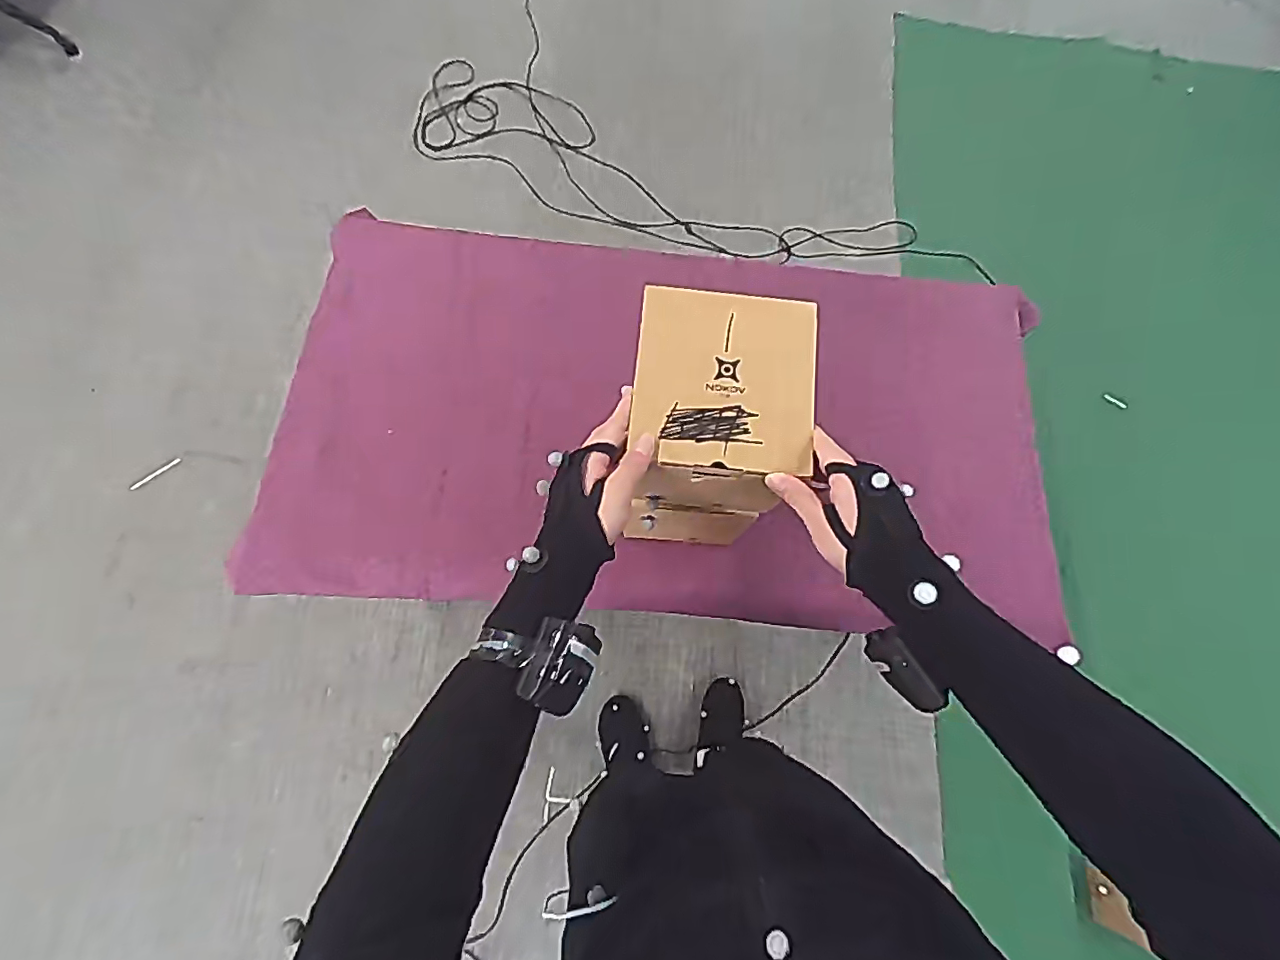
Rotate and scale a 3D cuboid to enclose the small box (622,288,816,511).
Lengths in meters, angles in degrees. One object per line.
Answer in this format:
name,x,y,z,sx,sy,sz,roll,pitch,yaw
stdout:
small box,0.073,-0.071,0.568,0.168,0.176,0.179,7,76,0
